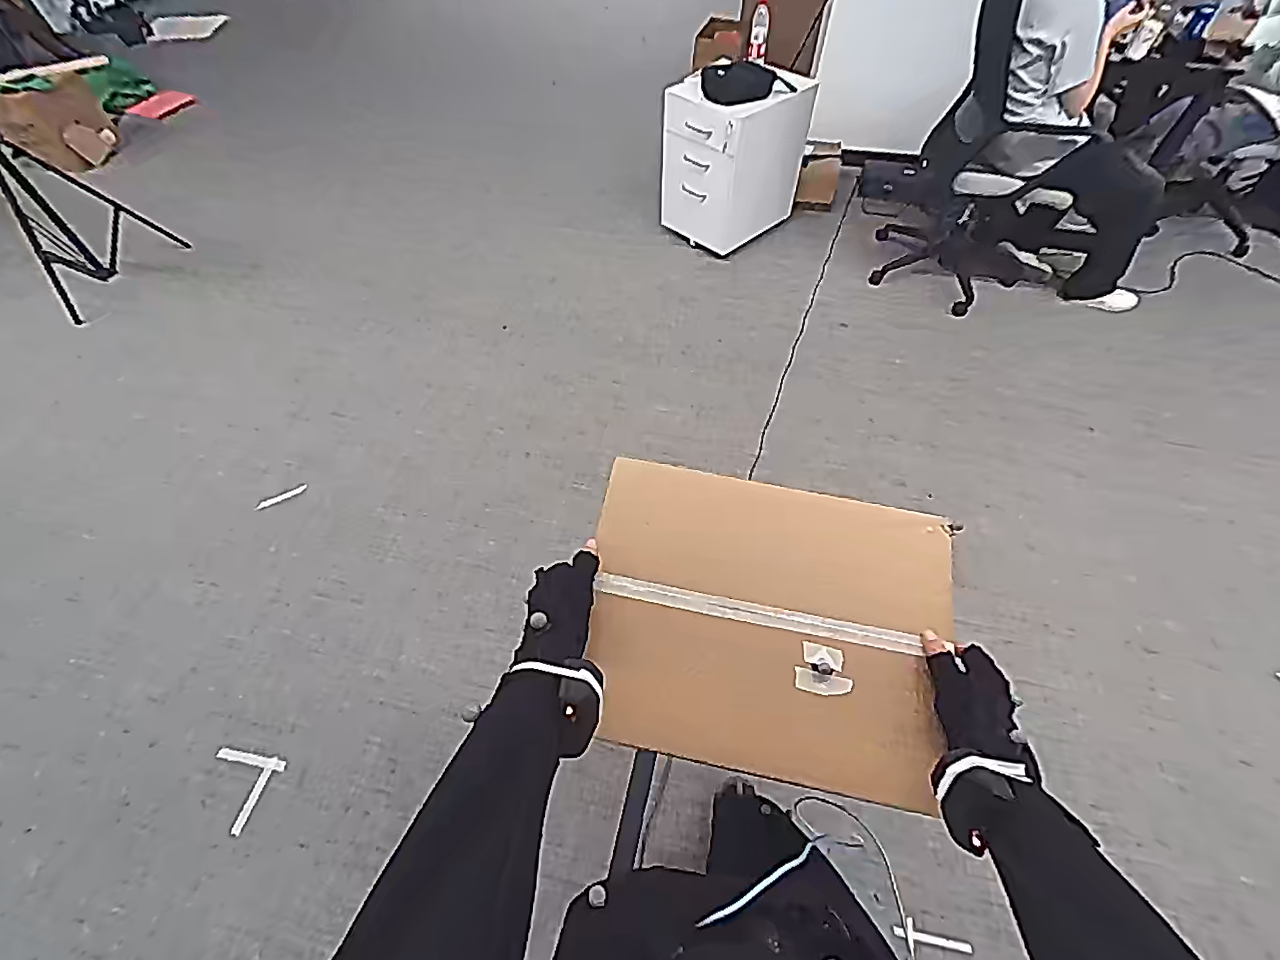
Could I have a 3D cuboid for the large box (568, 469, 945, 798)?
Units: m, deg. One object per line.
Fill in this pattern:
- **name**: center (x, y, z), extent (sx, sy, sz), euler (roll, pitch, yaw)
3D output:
- **large box**: center (0.140, 0.213, 0.755), extent (0.408, 0.320, 0.320), euler (11, 68, 4)
